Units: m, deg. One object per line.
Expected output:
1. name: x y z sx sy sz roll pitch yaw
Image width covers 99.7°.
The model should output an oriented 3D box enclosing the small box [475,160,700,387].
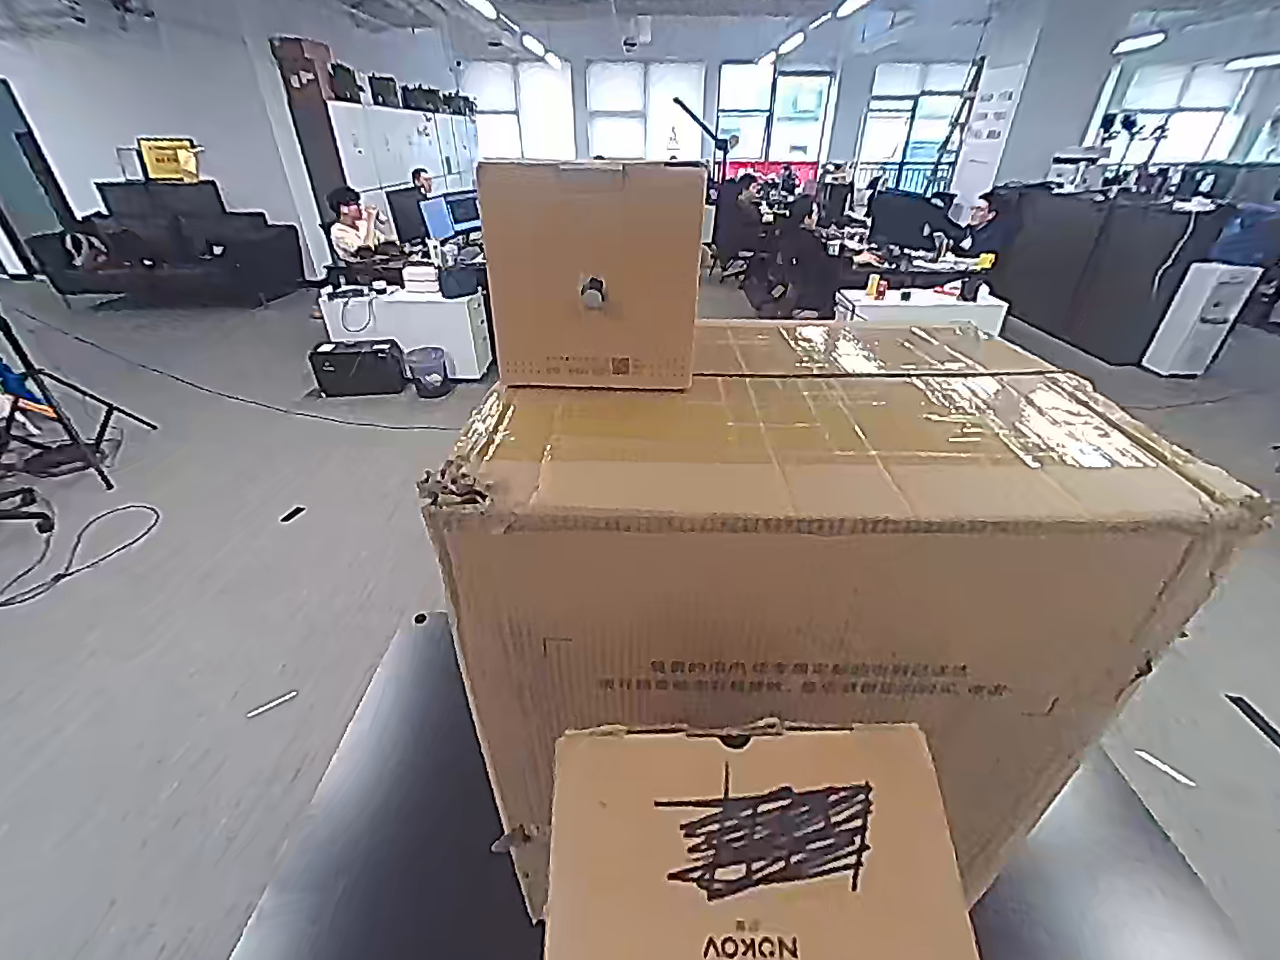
1. small box: -0.035 -0.192 0.494 0.168 0.176 0.179 1 31 1

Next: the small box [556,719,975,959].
1. small box: 0.055 0.230 0.280 0.168 0.176 0.179 -4 60 5
